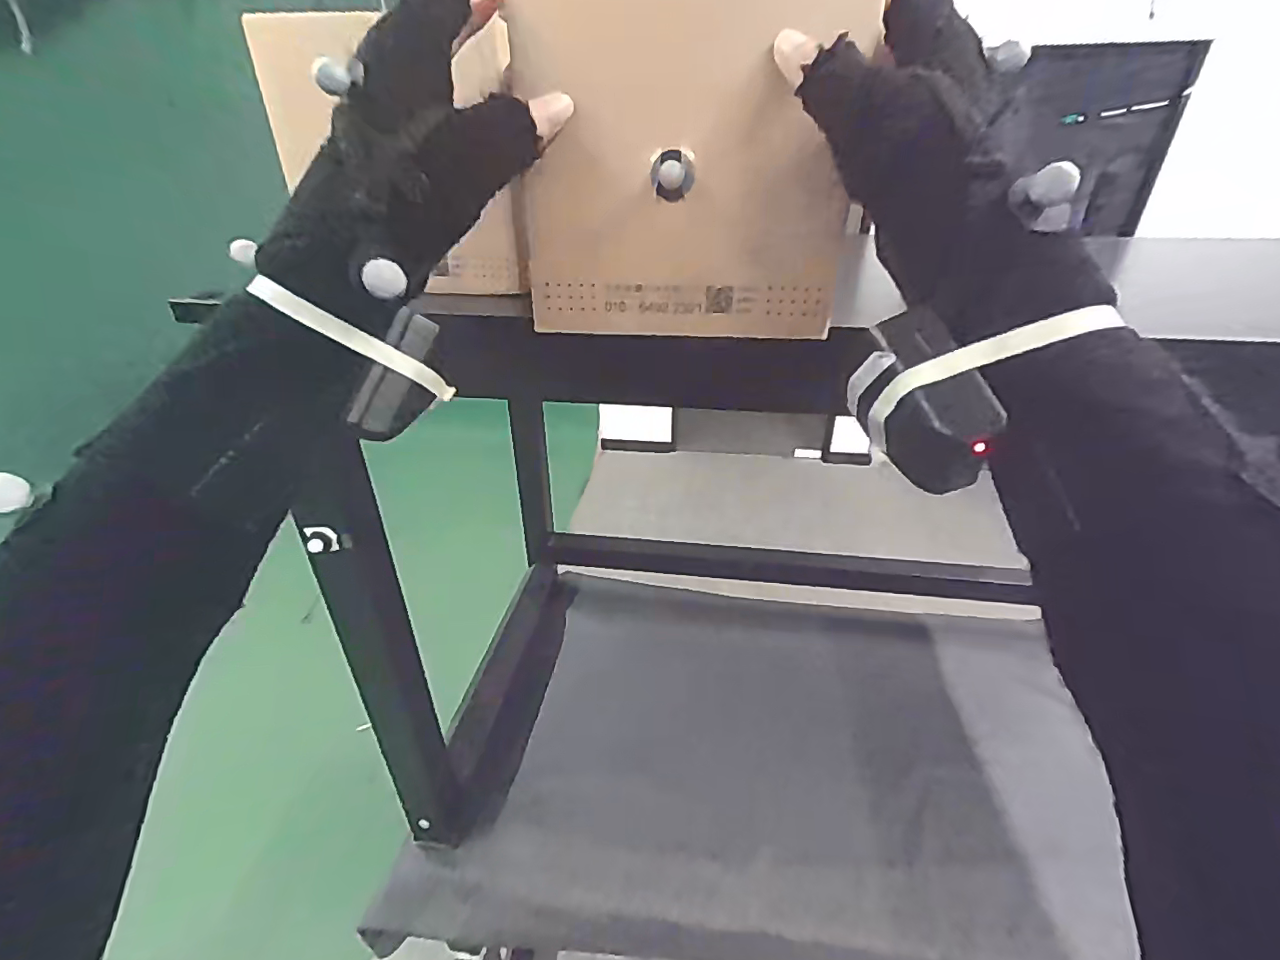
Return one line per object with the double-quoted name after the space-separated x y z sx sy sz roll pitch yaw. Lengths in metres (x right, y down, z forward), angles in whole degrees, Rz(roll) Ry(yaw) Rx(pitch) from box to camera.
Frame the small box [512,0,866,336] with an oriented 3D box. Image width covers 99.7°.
0.030 -0.196 0.349 0.168 0.176 0.179 3 29 4 "small box"
